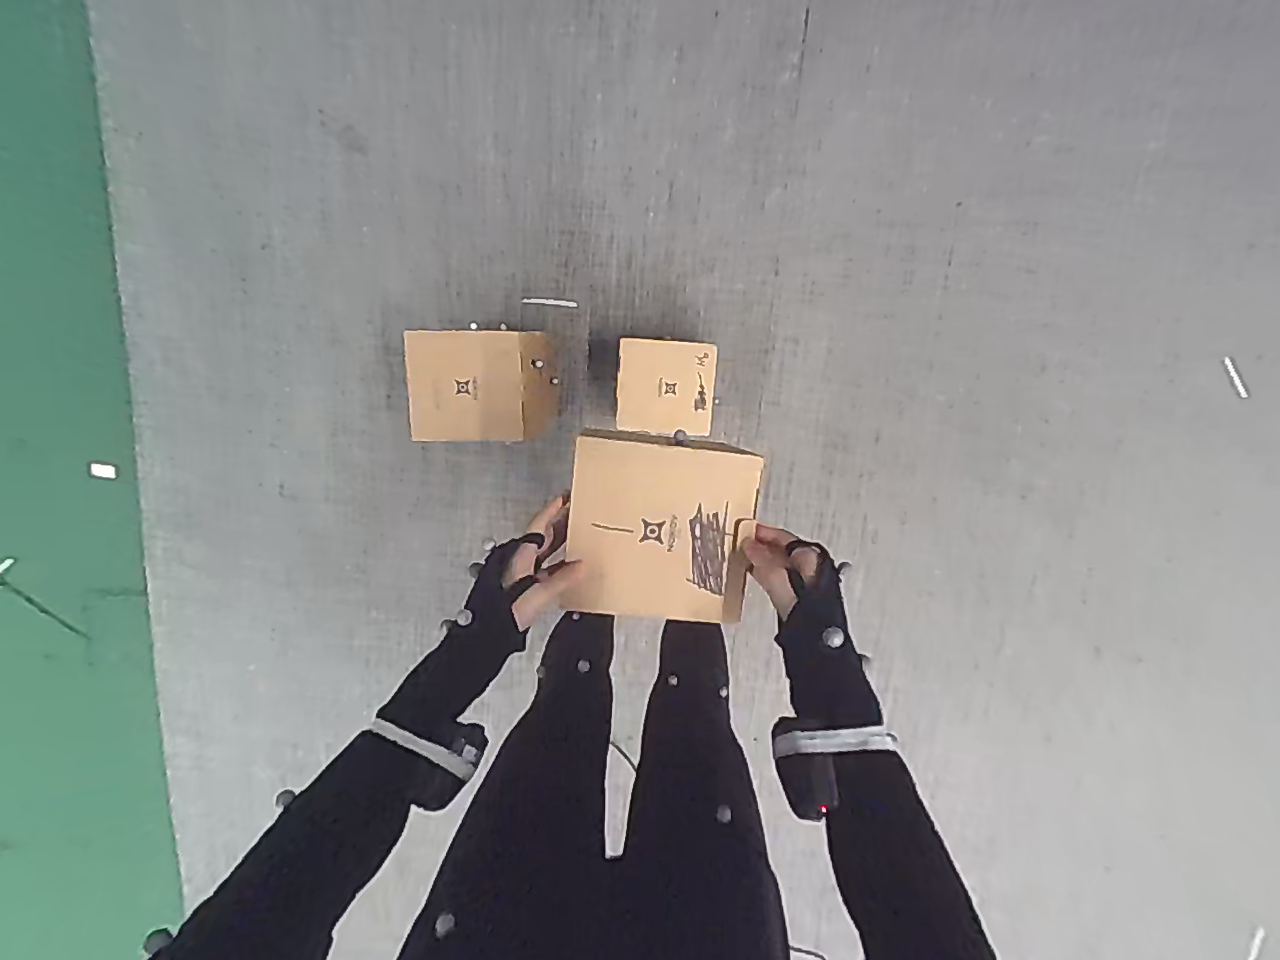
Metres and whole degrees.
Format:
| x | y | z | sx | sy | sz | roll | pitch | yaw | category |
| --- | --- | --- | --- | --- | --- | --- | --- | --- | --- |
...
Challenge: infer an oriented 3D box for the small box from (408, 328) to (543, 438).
| x | y | z | sx | sy | sz | roll | pitch | yaw | category |
| --- | --- | --- | --- | --- | --- | --- | --- | --- | --- |
| -0.260 | -0.163 | 0.899 | 0.179 | 0.176 | 0.168 | 1 | 101 | 2 | small box |

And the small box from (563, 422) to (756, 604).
| x | y | z | sx | sy | sz | roll | pitch | yaw | category |
| --- | --- | --- | --- | --- | --- | --- | --- | --- | --- |
| 0.014 | 0.026 | 0.604 | 0.179 | 0.176 | 0.168 | 5 | 98 | -4 | small box |

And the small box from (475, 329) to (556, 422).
| x | y | z | sx | sy | sz | roll | pitch | yaw | category |
| --- | --- | --- | --- | --- | --- | --- | --- | --- | --- |
| -0.261 | -0.205 | 1.057 | 0.179 | 0.176 | 0.168 | 1 | 101 | 2 | small box |
